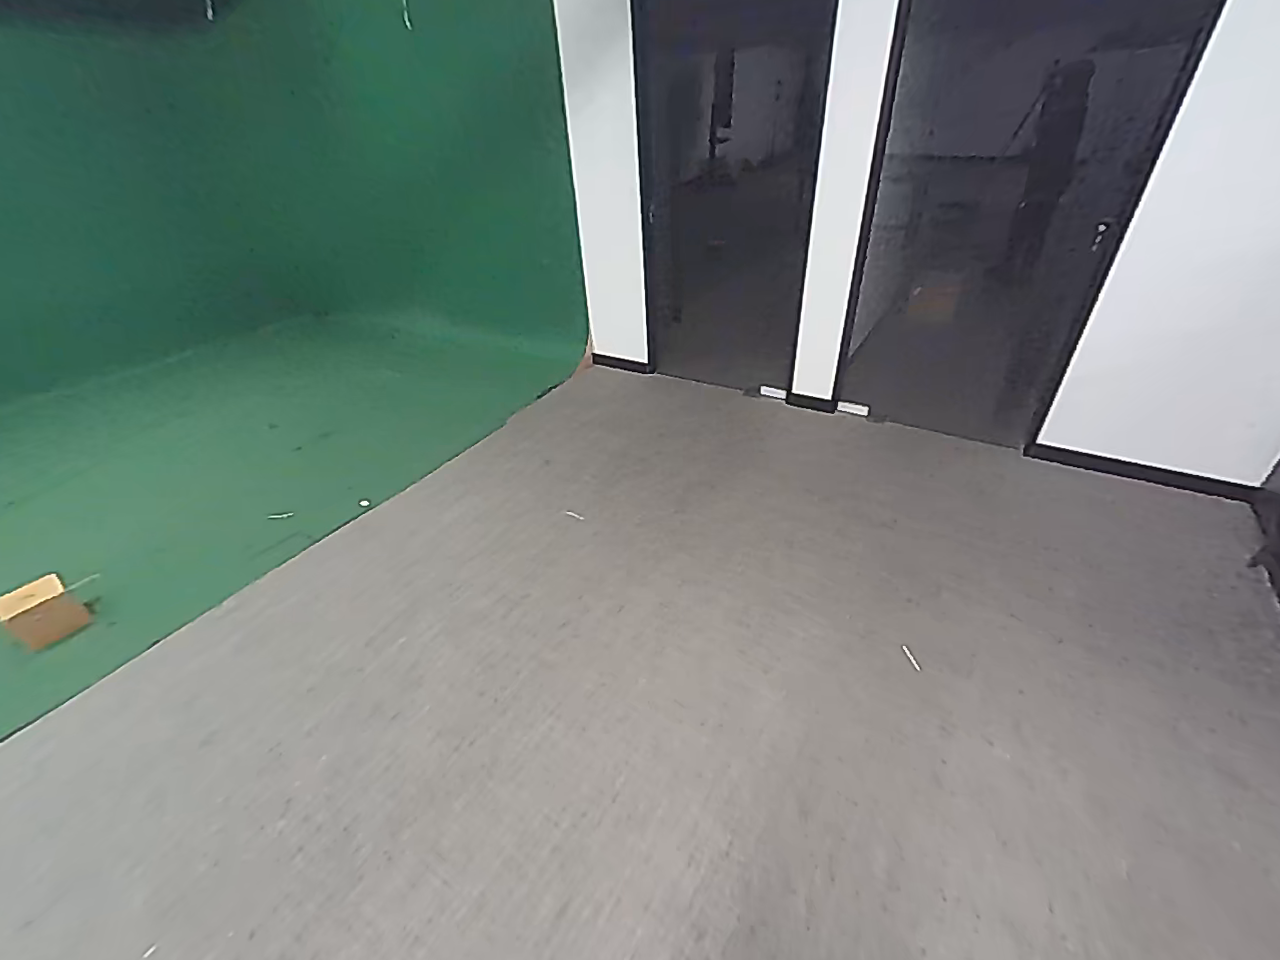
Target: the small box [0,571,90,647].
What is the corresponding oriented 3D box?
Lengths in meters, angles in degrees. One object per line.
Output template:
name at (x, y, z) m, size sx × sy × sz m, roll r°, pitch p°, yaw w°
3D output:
small box at (-2.190, 0.475, 1.990) m, size 0.168 × 0.176 × 0.179 m, roll 22°, pitch 42°, yaw 30°
